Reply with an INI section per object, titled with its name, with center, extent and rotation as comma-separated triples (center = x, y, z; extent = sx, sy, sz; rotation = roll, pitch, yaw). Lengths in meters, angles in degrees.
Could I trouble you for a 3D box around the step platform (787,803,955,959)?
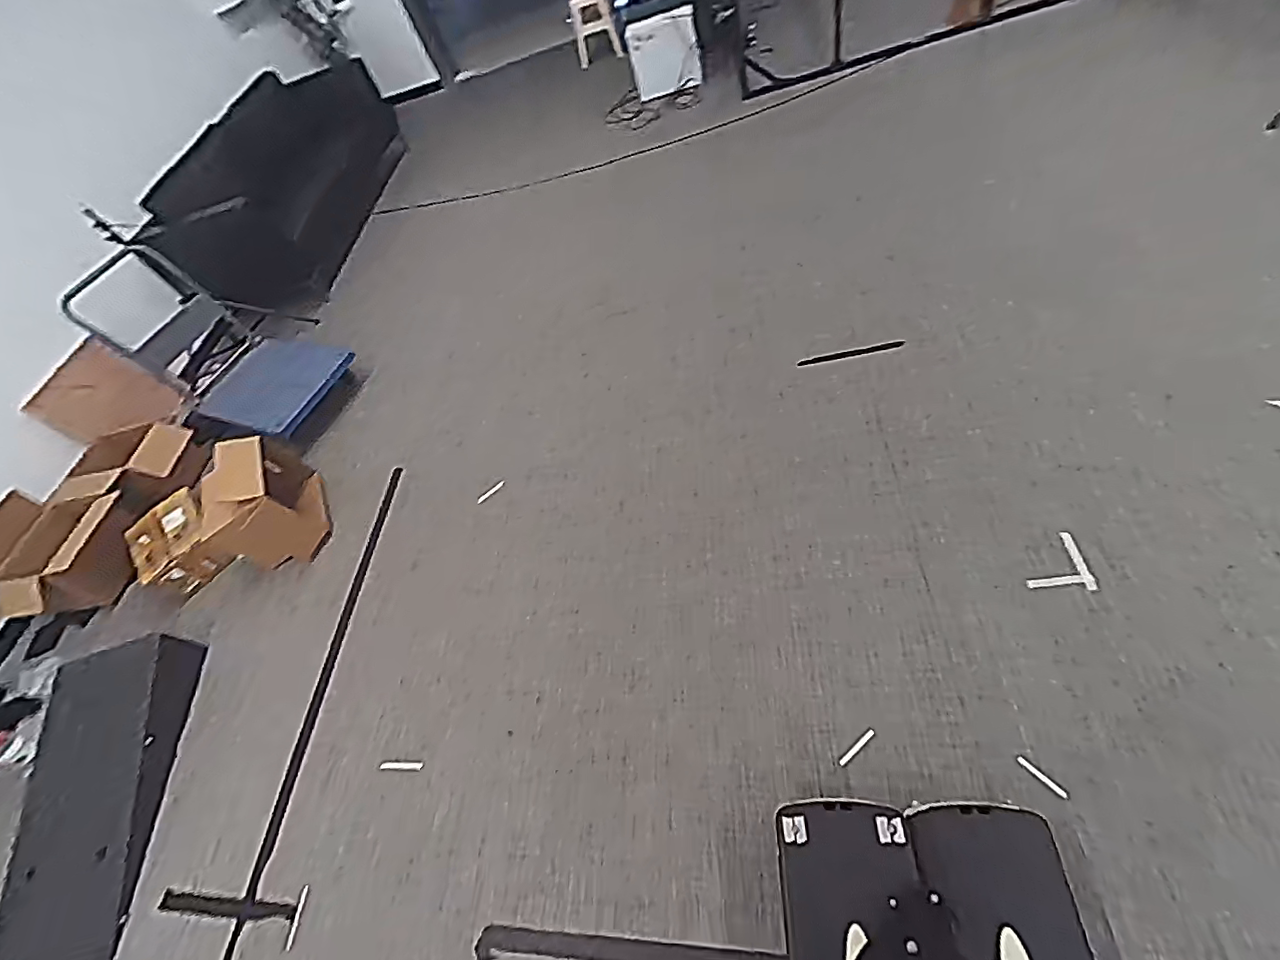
[step platform]
center = 0.474, 1.027, 1.054
extent = 0.286, 0.204, 0.684
rotation = -9, 54, 13
